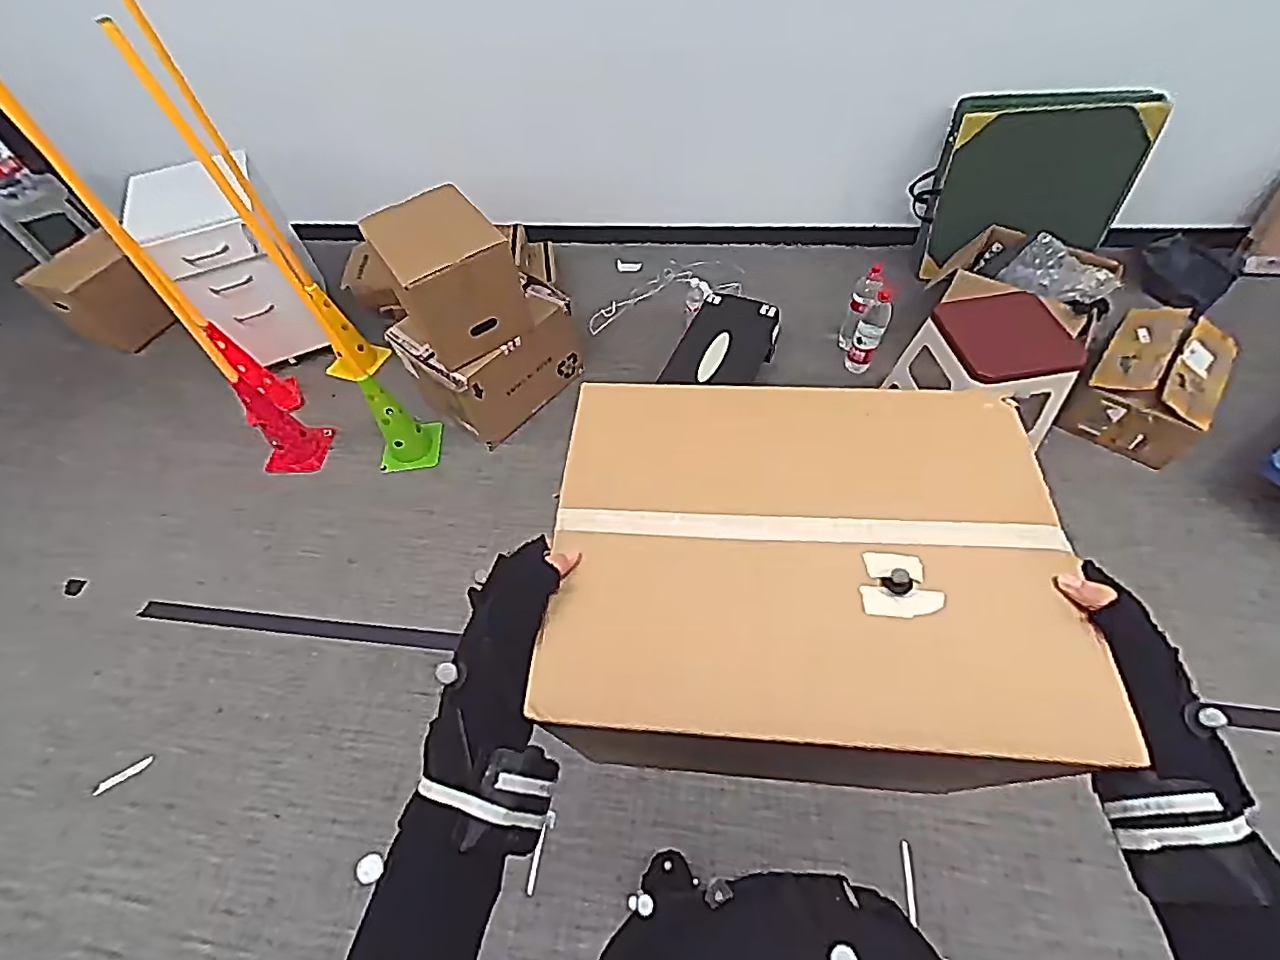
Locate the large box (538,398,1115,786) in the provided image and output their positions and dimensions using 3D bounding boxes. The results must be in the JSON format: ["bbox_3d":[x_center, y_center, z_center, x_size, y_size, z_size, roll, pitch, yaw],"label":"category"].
[{"bbox_3d":[0.137,0.129,0.580,0.408,0.320,0.320,2,57,5],"label":"large box"}]
